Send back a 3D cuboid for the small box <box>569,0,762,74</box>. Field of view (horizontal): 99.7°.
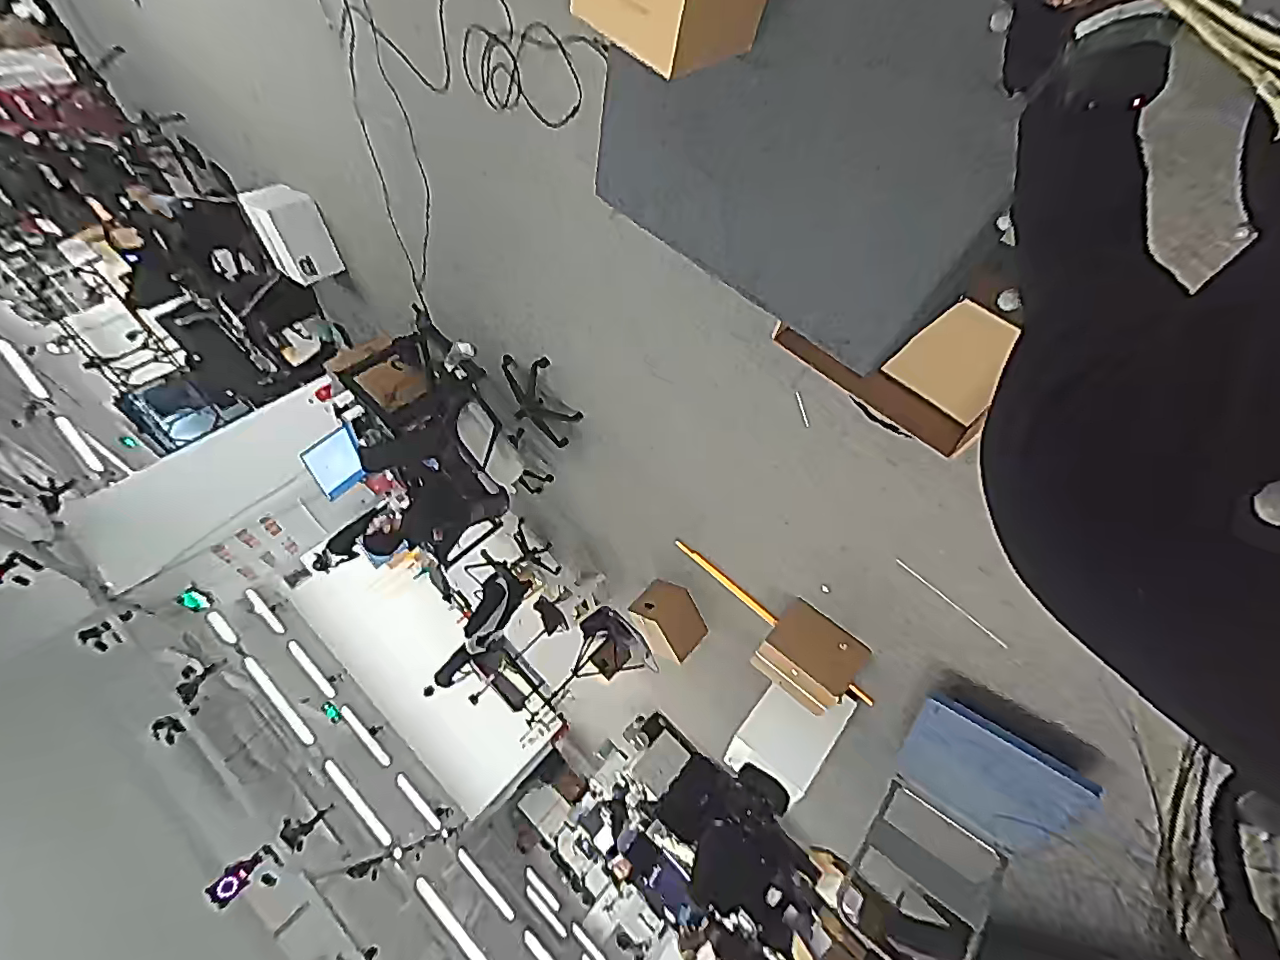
[{"bbox_3d":[0.046,-0.602,0.598,0.168,0.176,0.179,43,150,11],"label":"small box"}]
